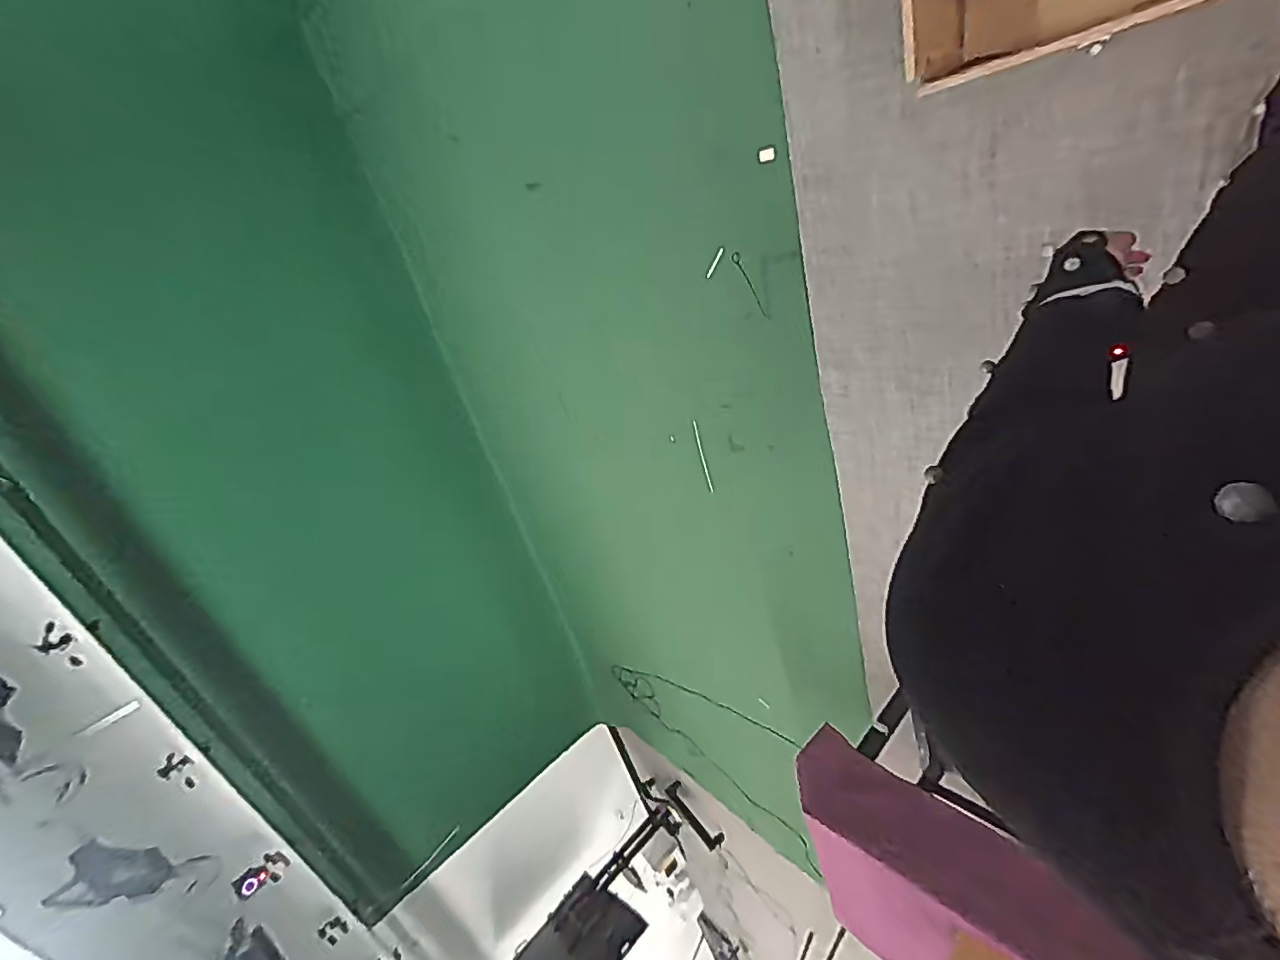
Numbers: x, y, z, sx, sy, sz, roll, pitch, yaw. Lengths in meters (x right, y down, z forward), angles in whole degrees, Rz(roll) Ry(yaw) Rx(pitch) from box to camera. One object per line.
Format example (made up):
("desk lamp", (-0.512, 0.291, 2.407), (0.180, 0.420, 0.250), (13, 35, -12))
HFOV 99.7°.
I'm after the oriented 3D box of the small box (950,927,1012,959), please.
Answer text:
("small box", (0.837, 1.234, 1.285), (0.179, 0.176, 0.168), (12, 129, 51))
